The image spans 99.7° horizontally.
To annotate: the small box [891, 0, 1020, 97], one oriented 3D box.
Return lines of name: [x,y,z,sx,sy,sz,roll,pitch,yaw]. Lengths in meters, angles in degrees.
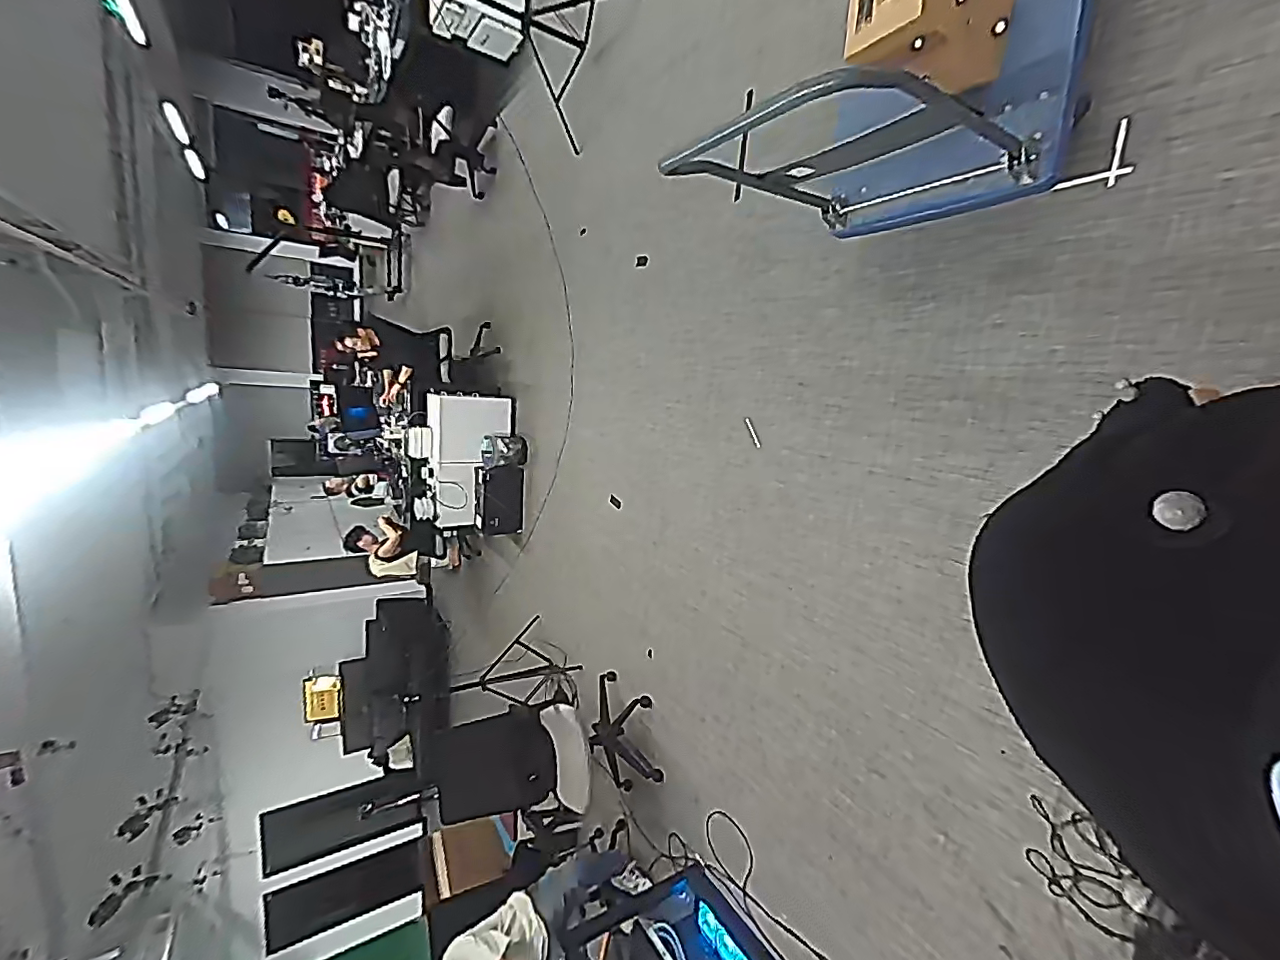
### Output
small box: [0.704,-0.999,1.212,0.179,0.176,0.168,23,112,54]
